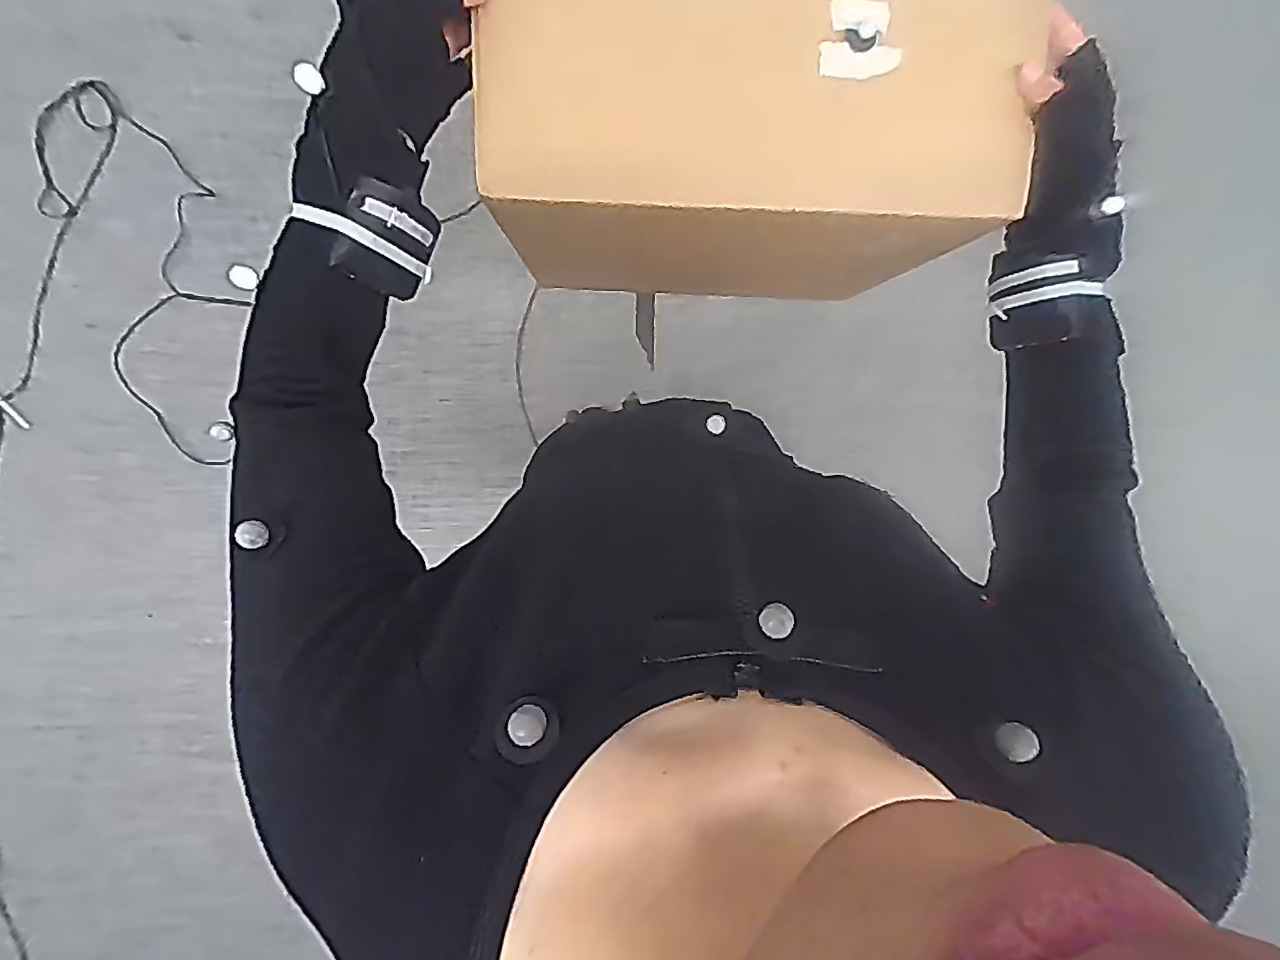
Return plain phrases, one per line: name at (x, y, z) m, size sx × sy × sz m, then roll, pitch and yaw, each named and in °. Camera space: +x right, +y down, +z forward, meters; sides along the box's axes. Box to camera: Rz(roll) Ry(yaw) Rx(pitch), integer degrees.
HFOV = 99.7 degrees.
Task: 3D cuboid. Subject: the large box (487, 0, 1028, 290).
large box at (0.079, -0.381, 0.536) m, size 0.408 × 0.320 × 0.320 m, roll 1°, pitch 98°, yaw -3°
